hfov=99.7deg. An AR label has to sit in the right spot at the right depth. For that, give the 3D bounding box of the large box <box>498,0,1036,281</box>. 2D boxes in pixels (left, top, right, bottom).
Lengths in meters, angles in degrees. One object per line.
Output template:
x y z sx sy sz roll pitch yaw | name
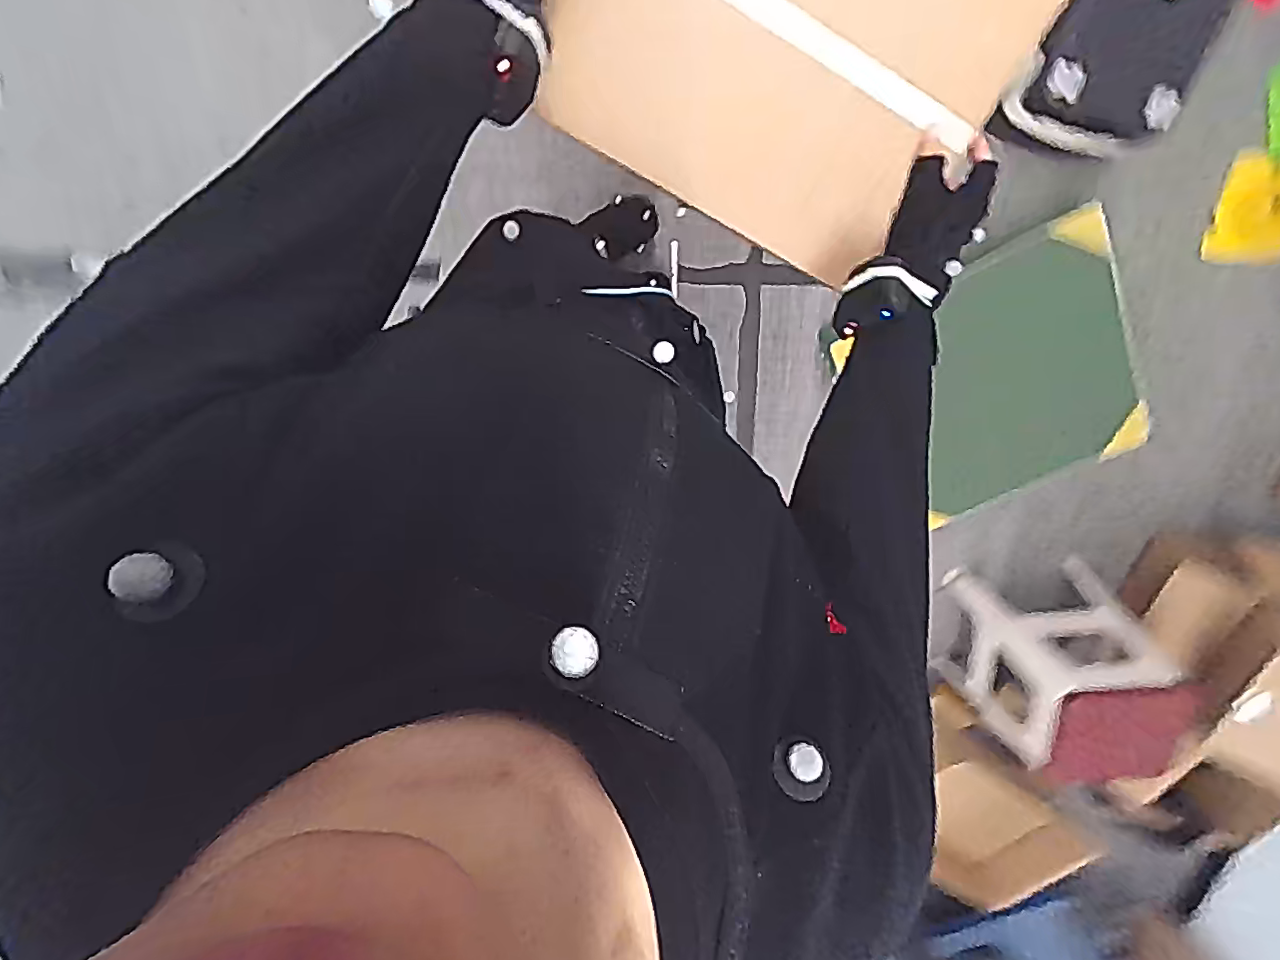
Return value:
0.120 -0.472 0.595 0.408 0.320 0.320 25 116 -9 | large box
